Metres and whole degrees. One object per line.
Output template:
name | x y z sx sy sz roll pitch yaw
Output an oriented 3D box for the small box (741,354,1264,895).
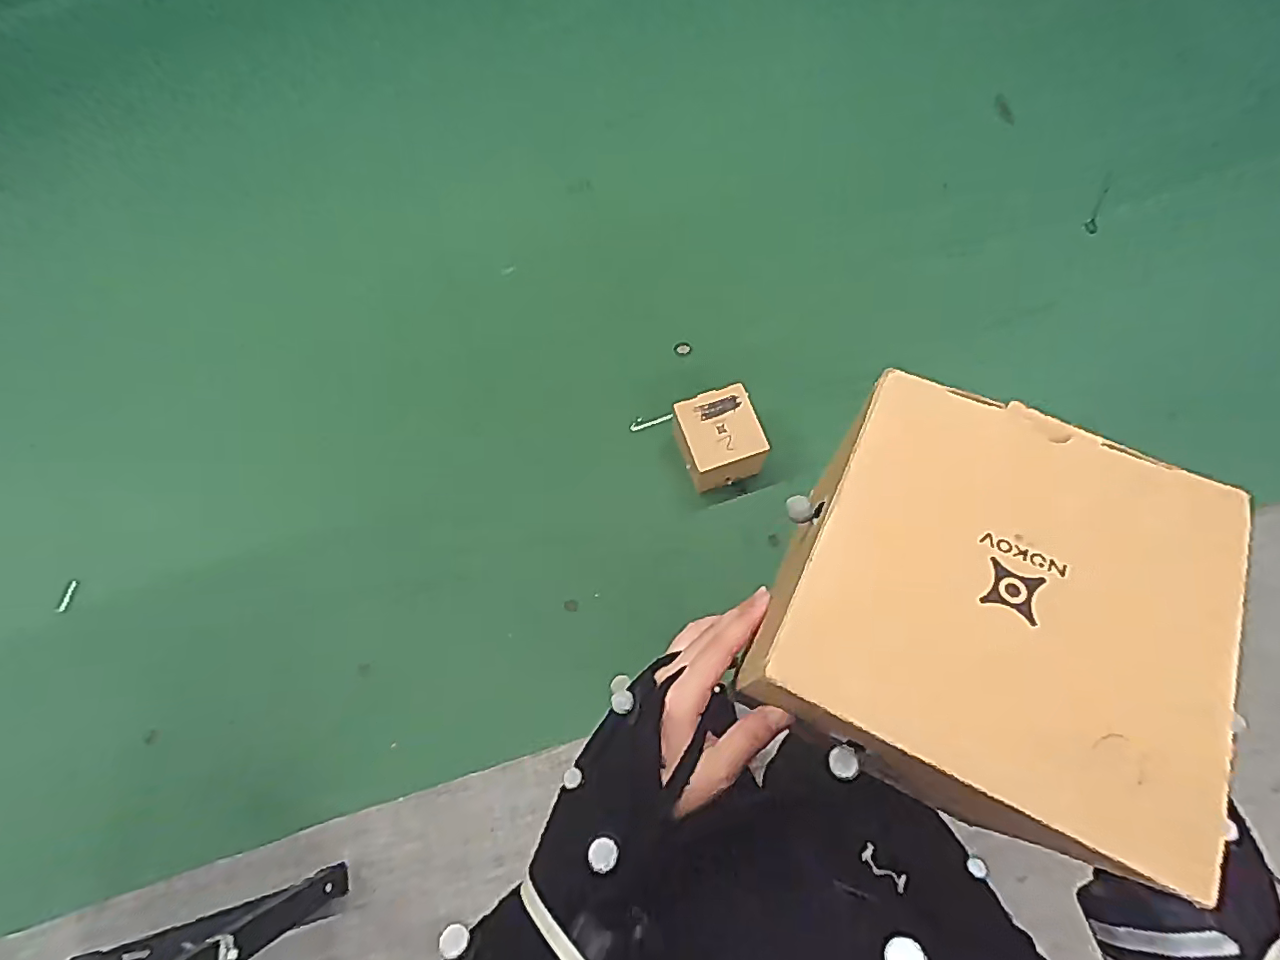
small box | 0.165 0.070 0.300 0.168 0.176 0.179 24 69 14
